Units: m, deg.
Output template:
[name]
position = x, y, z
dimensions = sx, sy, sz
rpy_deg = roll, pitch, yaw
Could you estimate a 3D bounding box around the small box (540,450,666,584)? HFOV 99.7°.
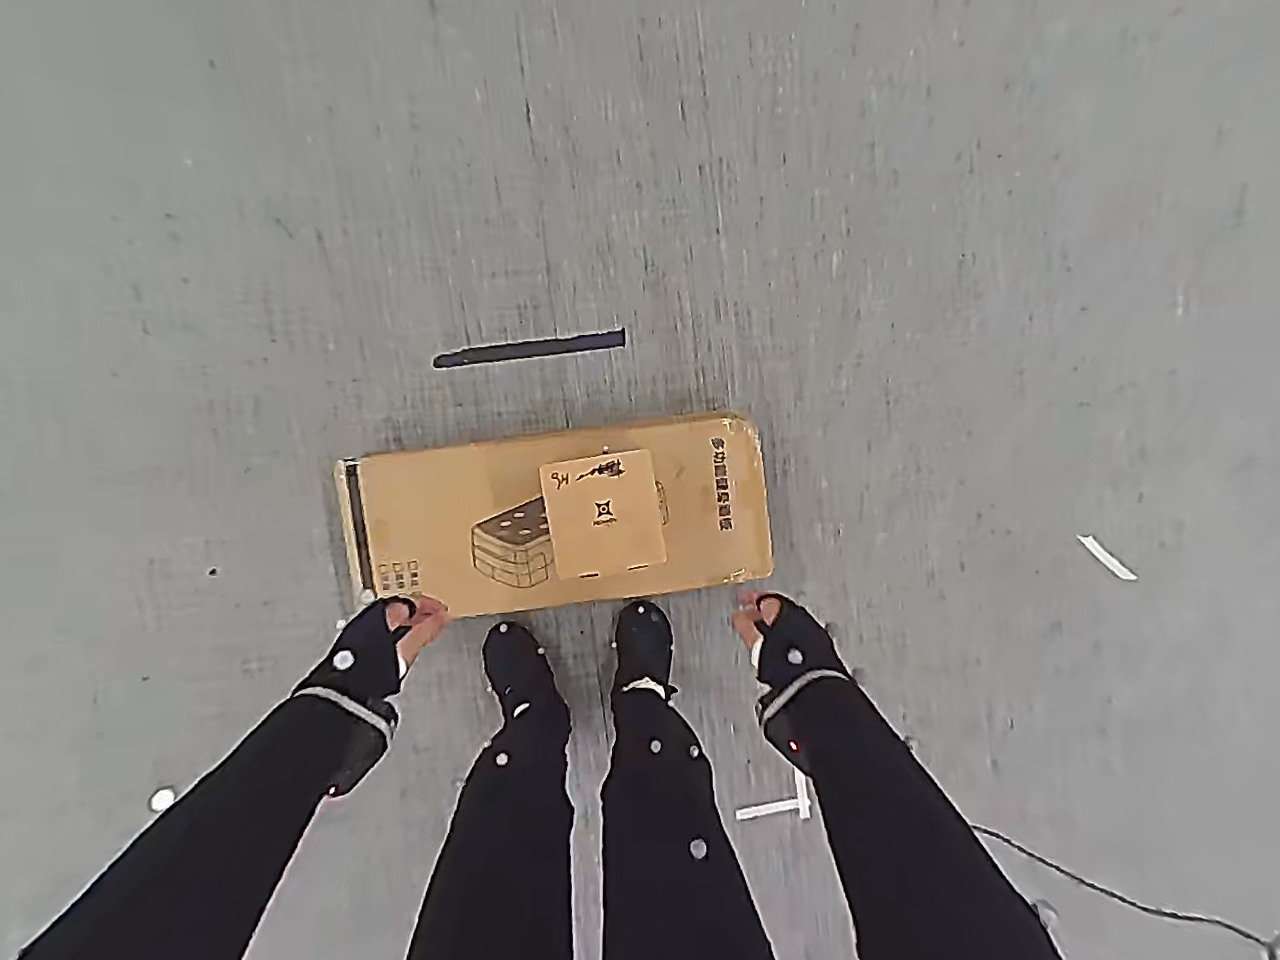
[small box]
position = -0.057, 0.050, 0.866
dimensions = 0.168, 0.176, 0.179
rpy_deg = -9, 95, -4
